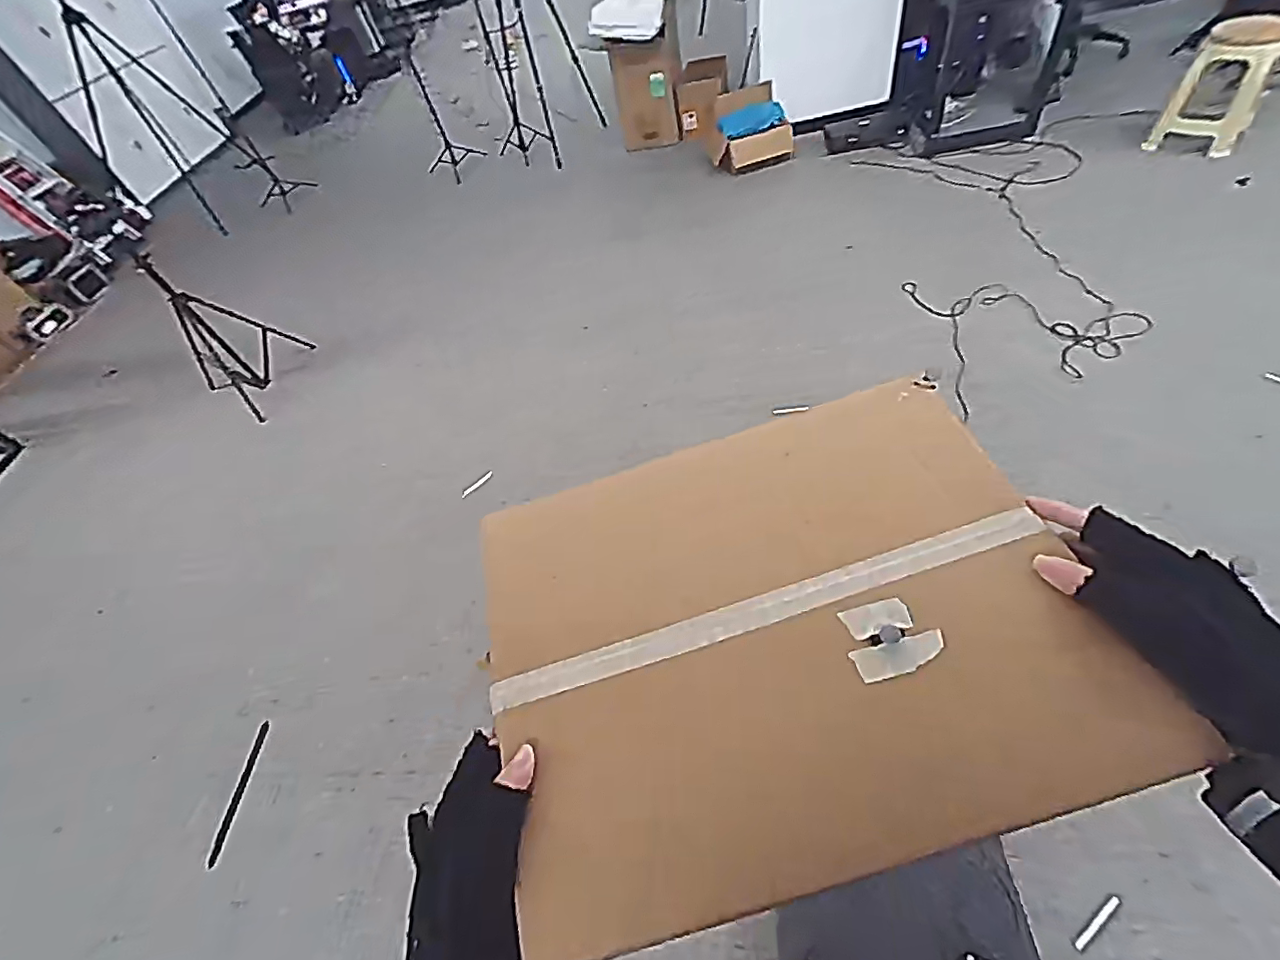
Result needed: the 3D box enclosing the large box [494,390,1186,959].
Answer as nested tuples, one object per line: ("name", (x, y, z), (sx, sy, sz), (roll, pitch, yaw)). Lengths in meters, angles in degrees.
("large box", (0.121, 0.181, 0.519), (0.408, 0.320, 0.320), (-18, 55, 1))
